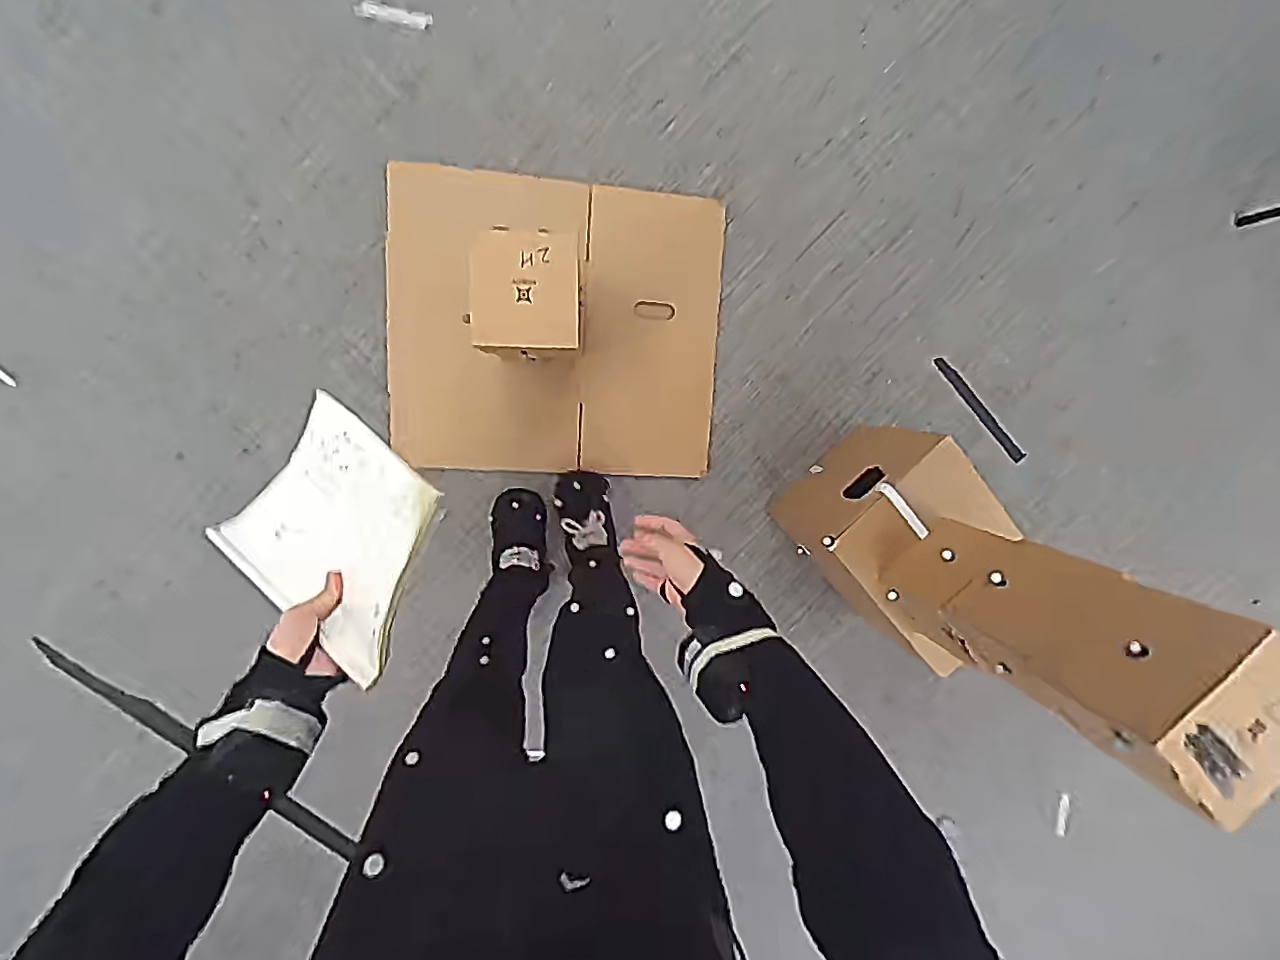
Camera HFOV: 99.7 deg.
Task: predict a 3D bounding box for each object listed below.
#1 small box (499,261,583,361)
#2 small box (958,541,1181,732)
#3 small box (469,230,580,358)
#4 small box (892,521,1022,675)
[{"bbox_3d":[-0.200,-0.328,1.062,0.168,0.176,0.179,-2,101,-9],"label":"small box"},{"bbox_3d":[0.616,0.220,0.803,0.179,0.176,0.168,-43,103,1],"label":"small box"},{"bbox_3d":[-0.186,-0.297,0.900,0.168,0.176,0.179,-1,99,-10],"label":"small box"},{"bbox_3d":[0.585,0.200,0.963,0.179,0.176,0.168,-40,103,-1],"label":"small box"}]
